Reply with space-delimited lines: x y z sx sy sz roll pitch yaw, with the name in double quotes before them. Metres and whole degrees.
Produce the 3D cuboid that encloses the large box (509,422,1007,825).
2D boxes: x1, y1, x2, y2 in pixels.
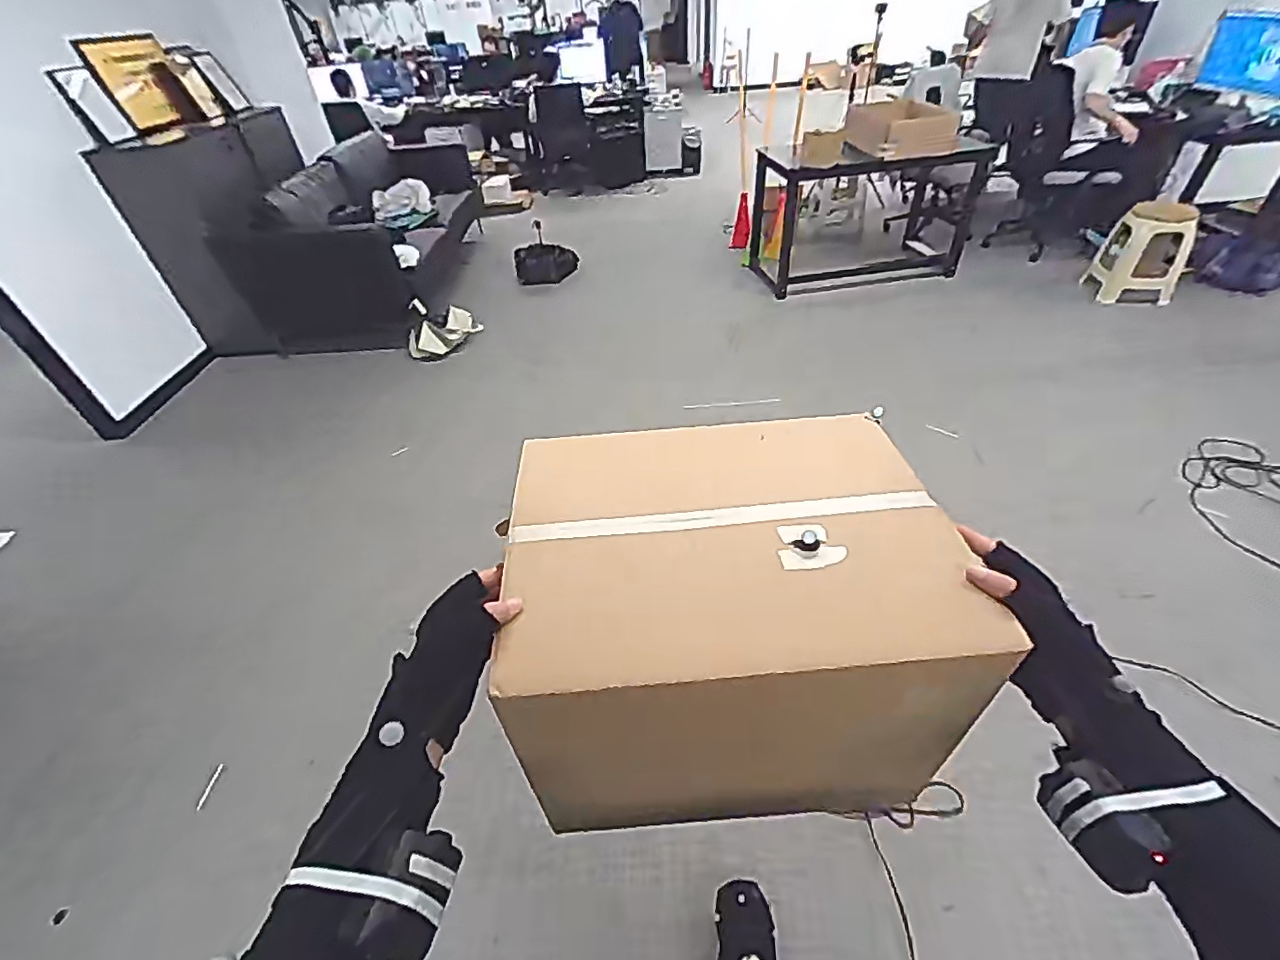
"large box" 0.087 0.157 0.625 0.408 0.320 0.320 -4 41 -2
